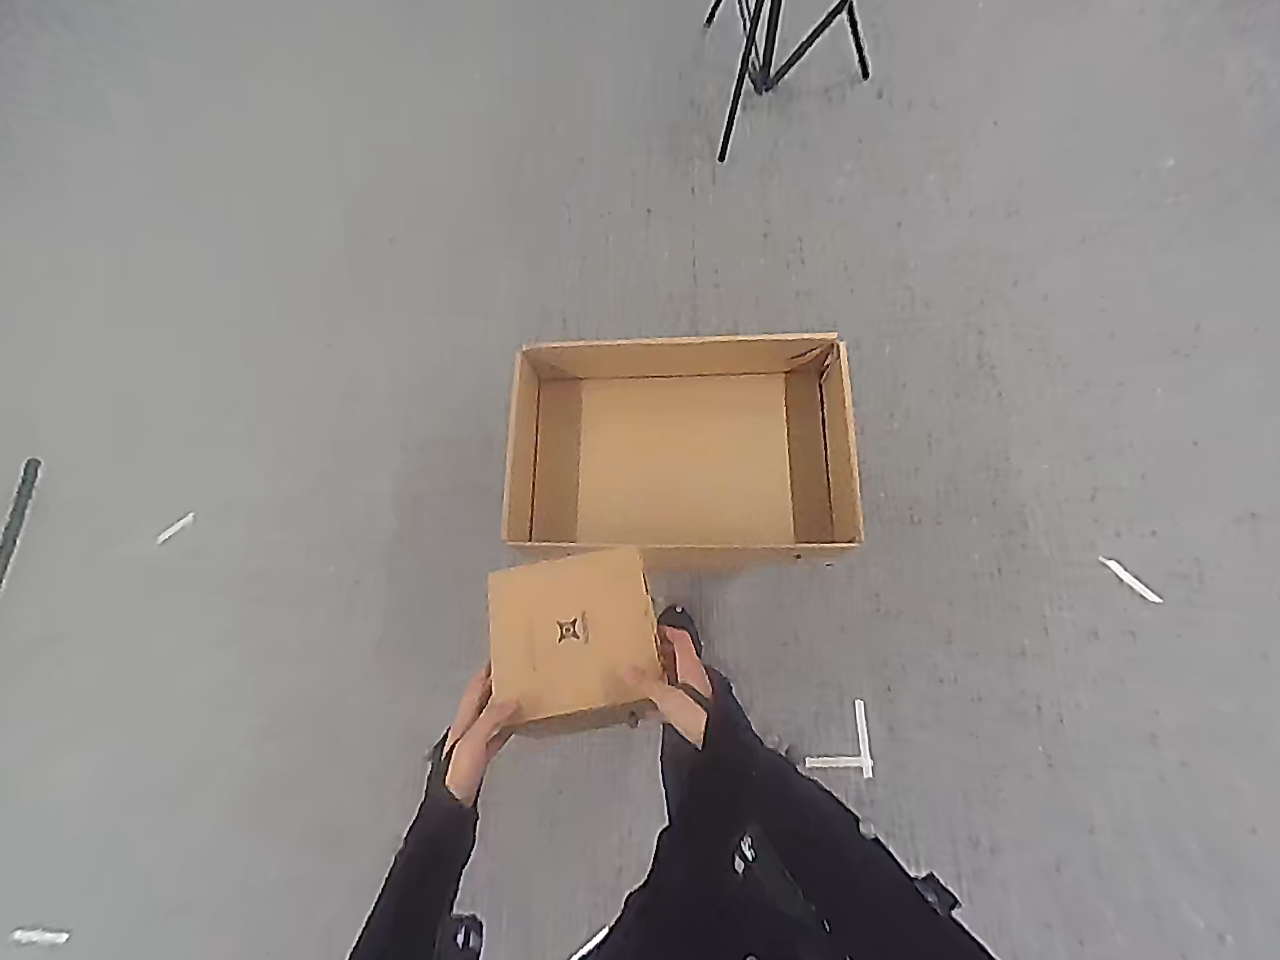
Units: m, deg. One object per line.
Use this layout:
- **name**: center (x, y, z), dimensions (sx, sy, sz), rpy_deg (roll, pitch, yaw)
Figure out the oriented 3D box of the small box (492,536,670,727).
- **small box**: center (-0.064, 0.186, 0.643), dimensions (0.179, 0.176, 0.168), rpy_deg (-11, 60, -2)
